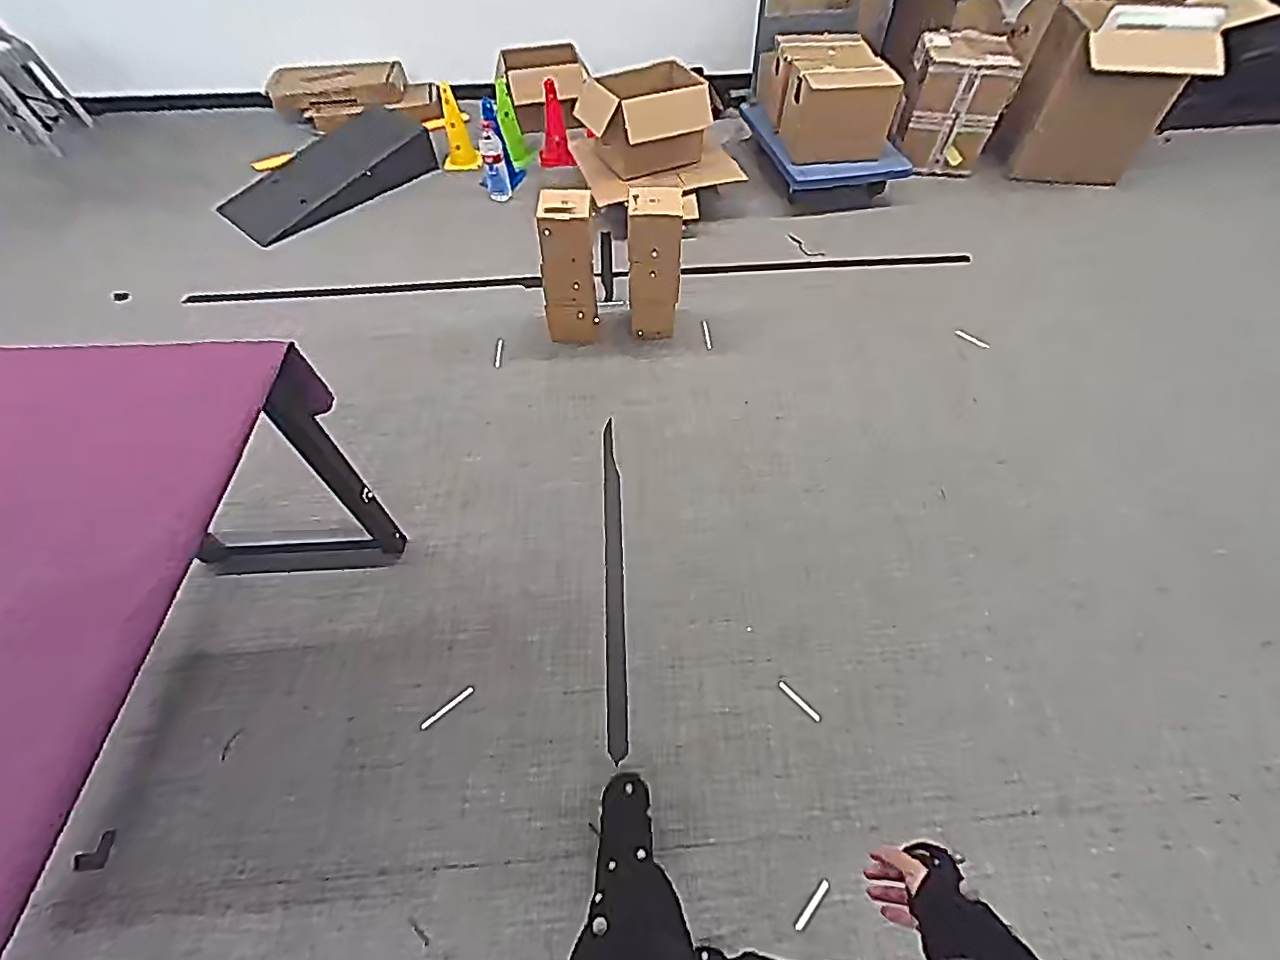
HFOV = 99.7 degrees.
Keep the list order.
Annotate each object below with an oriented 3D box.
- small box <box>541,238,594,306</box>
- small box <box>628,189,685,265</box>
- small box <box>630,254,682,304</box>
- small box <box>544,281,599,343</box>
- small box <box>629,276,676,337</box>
[{"bbox_3d":[-0.251,-0.737,1.924,0.168,0.176,0.179,2,54,-1],"label":"small box"},{"bbox_3d":[0.054,-0.834,1.788,0.179,0.176,0.168,2,55,0],"label":"small box"},{"bbox_3d":[0.053,-0.743,1.925,0.179,0.176,0.168,-1,56,-2],"label":"small box"},{"bbox_3d":[-0.255,-0.637,2.052,0.179,0.176,0.168,2,55,1],"label":"small box"},{"bbox_3d":[0.047,-0.663,2.069,0.168,0.176,0.179,-3,55,-3],"label":"small box"}]
